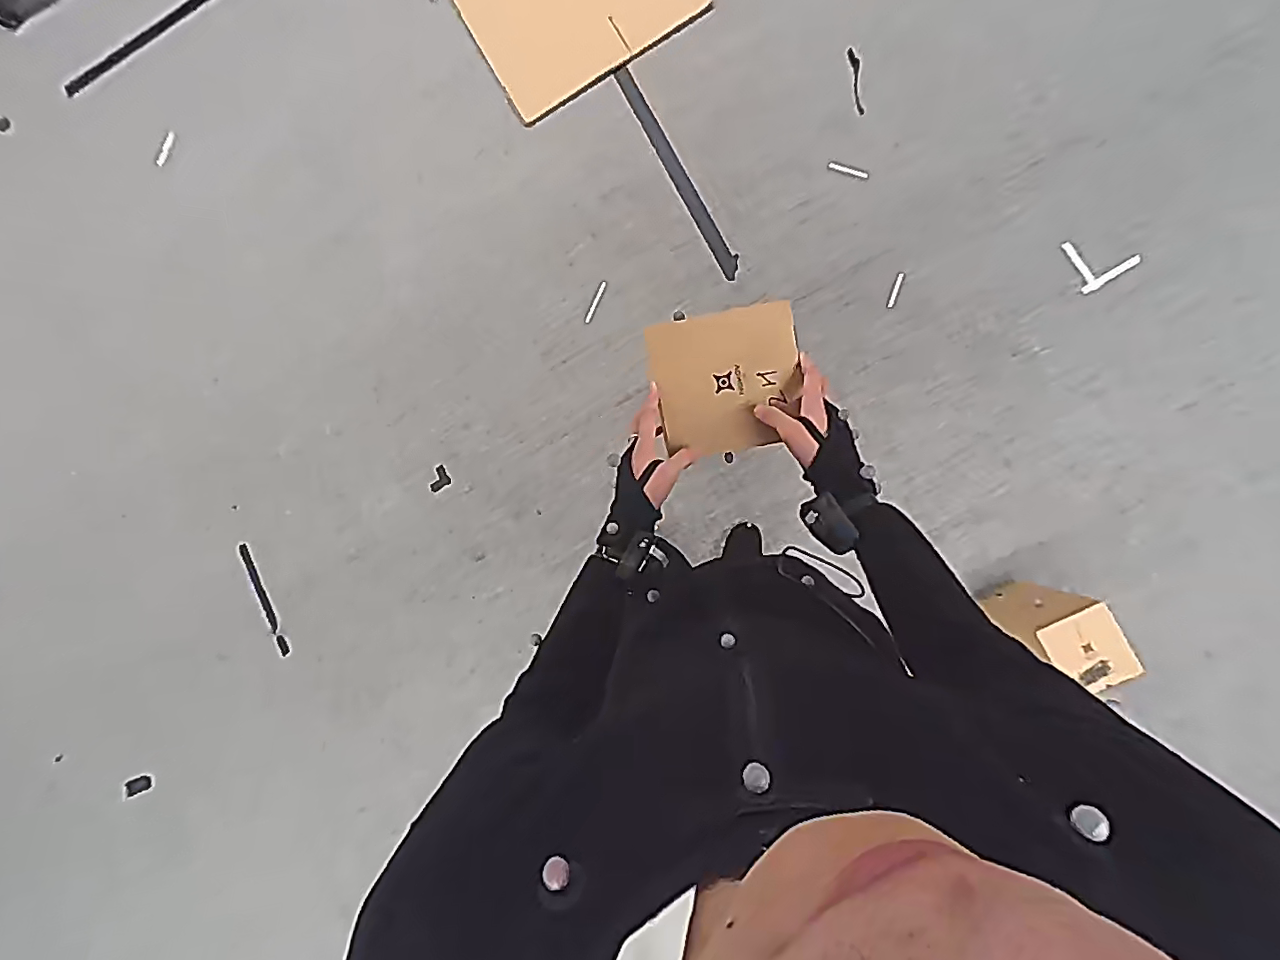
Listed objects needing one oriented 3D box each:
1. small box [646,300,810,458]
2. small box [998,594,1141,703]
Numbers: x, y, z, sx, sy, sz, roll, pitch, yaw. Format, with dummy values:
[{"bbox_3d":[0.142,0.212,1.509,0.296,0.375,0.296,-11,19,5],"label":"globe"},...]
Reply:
[{"bbox_3d":[0.106,-0.125,0.721,0.179,0.176,0.168,-10,95,0],"label":"small box"},{"bbox_3d":[1.004,0.390,1.281,0.168,0.176,0.179,-27,84,4],"label":"small box"}]
